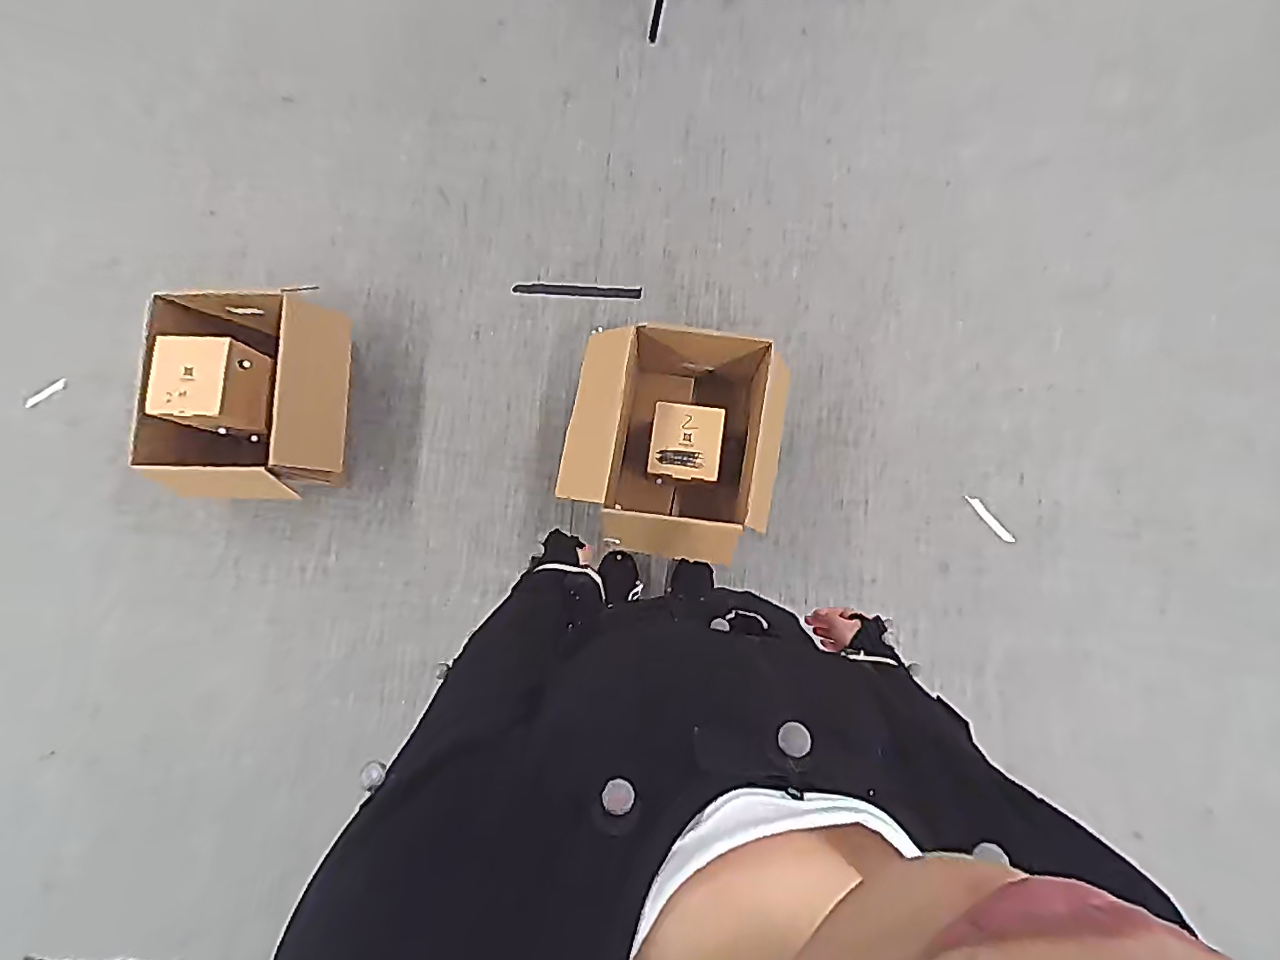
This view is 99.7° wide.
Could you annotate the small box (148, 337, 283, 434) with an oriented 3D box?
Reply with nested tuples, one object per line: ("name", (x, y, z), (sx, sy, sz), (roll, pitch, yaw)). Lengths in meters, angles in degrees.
("small box", (-0.956, -0.210, 1.234), (0.168, 0.176, 0.179), (2, 83, 3))
